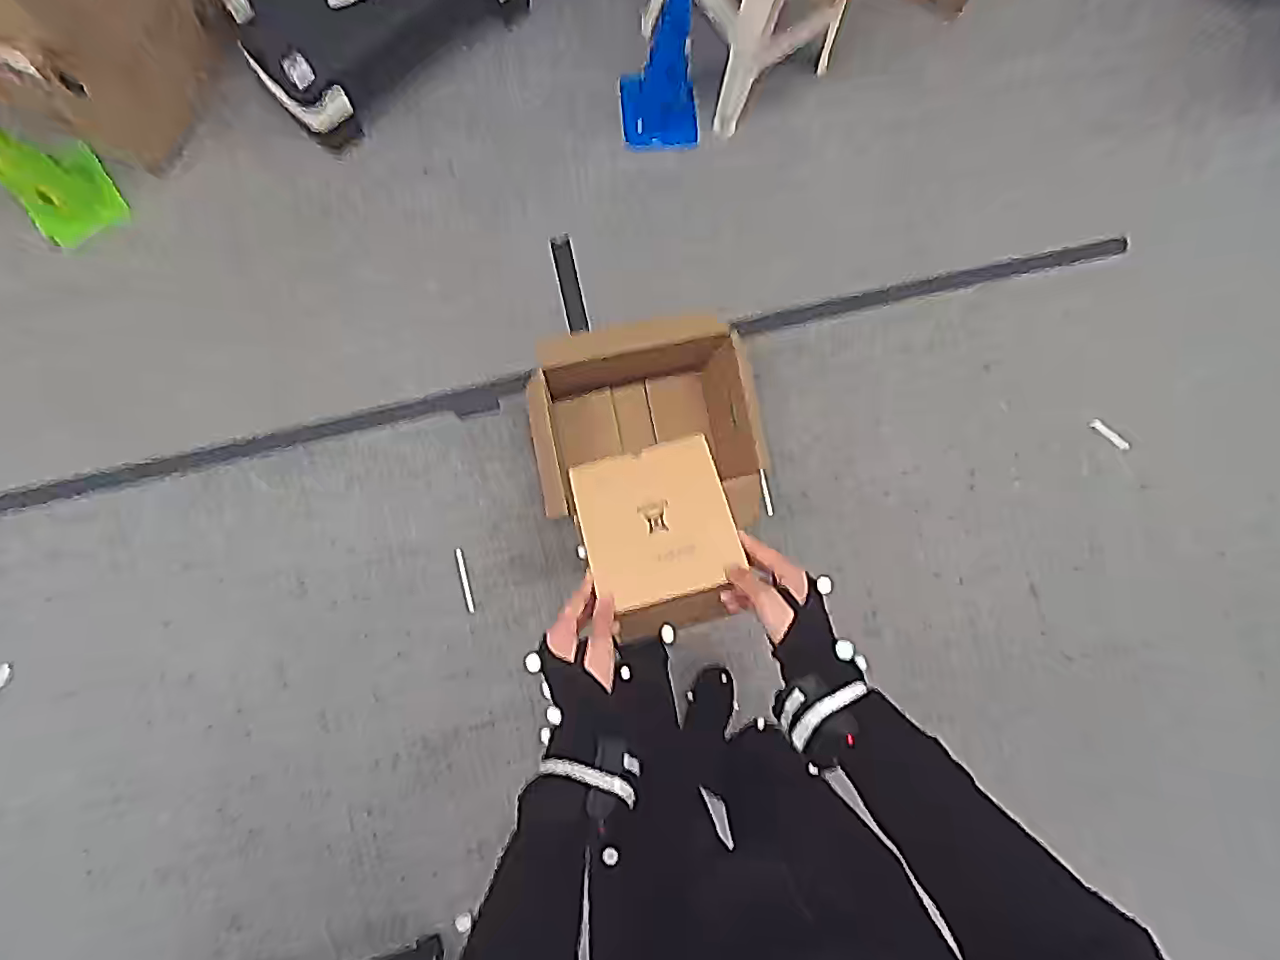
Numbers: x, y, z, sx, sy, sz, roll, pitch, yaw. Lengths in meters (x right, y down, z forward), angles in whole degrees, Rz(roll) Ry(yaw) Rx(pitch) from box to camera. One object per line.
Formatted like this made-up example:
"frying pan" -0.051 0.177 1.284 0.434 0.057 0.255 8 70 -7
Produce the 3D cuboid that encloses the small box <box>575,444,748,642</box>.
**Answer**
"small box" 0.025 0.085 0.683 0.168 0.176 0.179 -15 61 -2
